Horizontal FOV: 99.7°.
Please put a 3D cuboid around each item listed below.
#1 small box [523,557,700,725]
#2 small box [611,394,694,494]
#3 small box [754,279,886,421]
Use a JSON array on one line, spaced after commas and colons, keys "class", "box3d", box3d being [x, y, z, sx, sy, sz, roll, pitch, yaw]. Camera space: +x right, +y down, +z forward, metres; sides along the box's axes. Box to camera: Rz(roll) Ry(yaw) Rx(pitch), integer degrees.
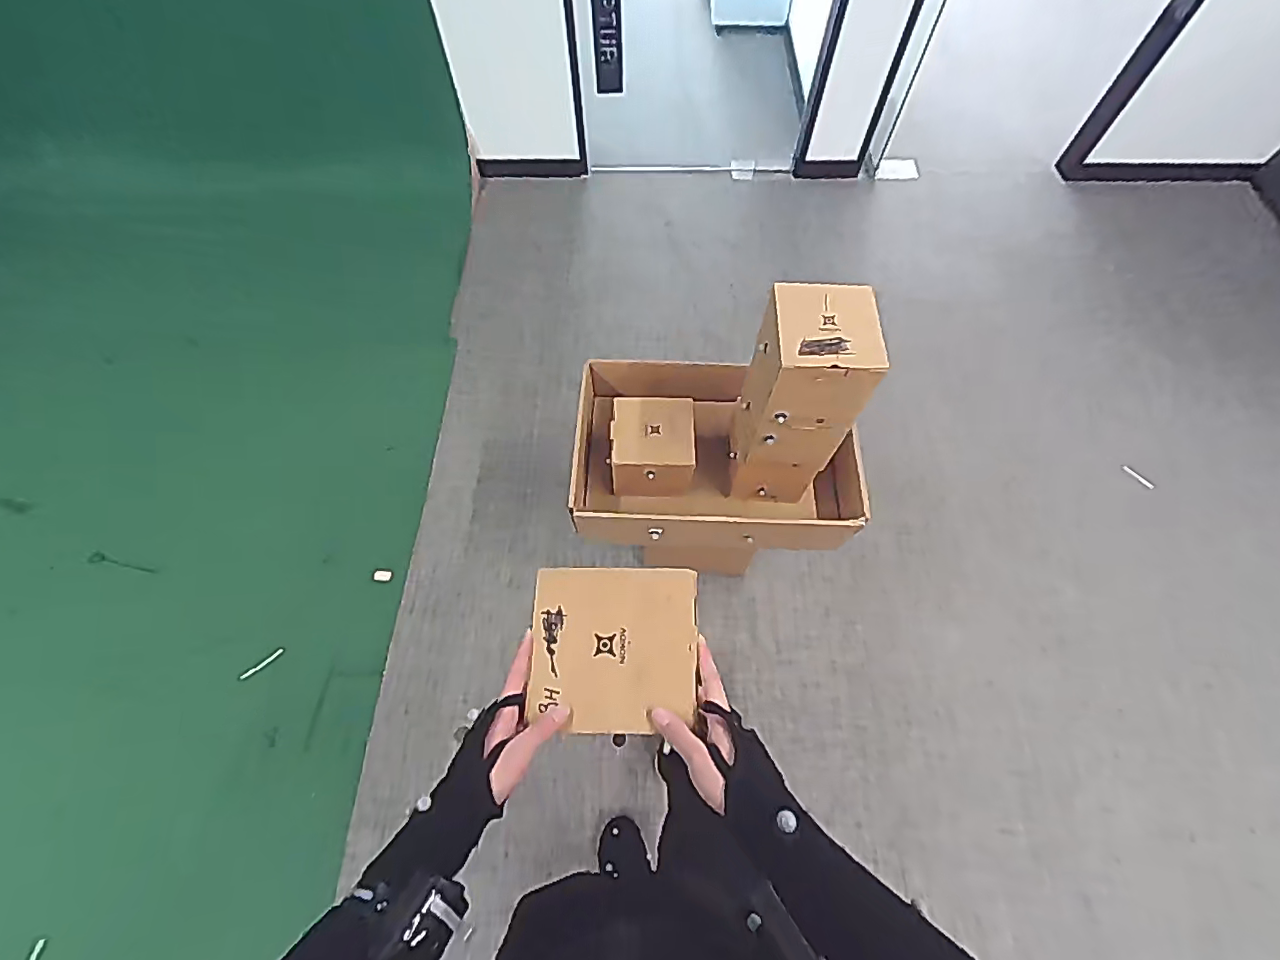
[{"class": "small box", "box3d": [-0.025, 0.193, 0.634, 0.179, 0.176, 0.168, 1, 66, 2]}, {"class": "small box", "box3d": [0.027, -0.077, 1.219, 0.179, 0.176, 0.168, 2, 64, -1]}, {"class": "small box", "box3d": [0.294, -0.215, 0.923, 0.168, 0.176, 0.179, 2, 63, 0]}]
